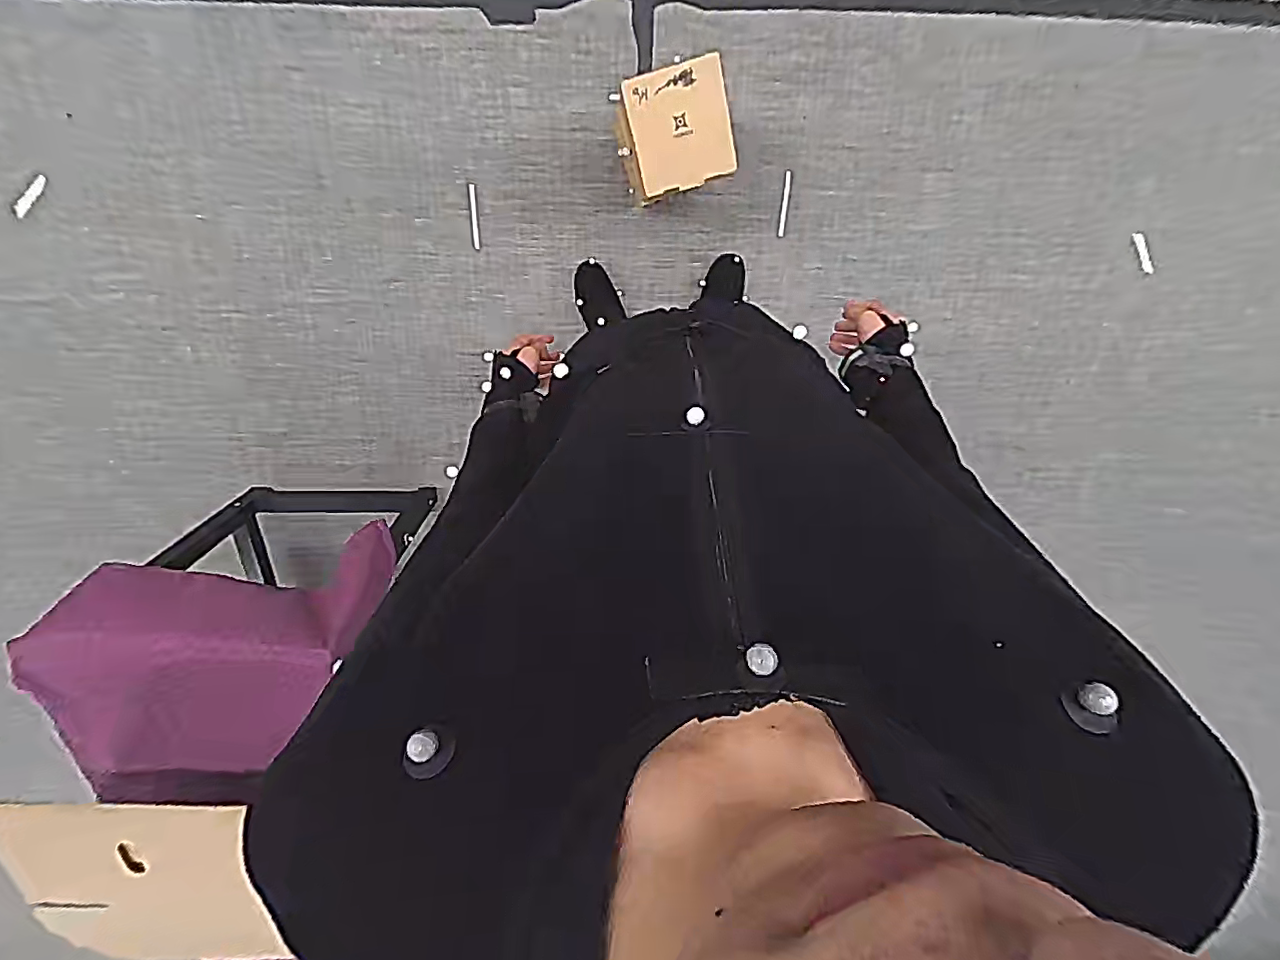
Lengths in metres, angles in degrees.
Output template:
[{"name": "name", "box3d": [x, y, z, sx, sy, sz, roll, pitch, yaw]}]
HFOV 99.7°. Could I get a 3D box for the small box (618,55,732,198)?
[{"name": "small box", "box3d": [0.060, -0.627, 0.979, 0.168, 0.176, 0.179, -14, 116, 4]}]
